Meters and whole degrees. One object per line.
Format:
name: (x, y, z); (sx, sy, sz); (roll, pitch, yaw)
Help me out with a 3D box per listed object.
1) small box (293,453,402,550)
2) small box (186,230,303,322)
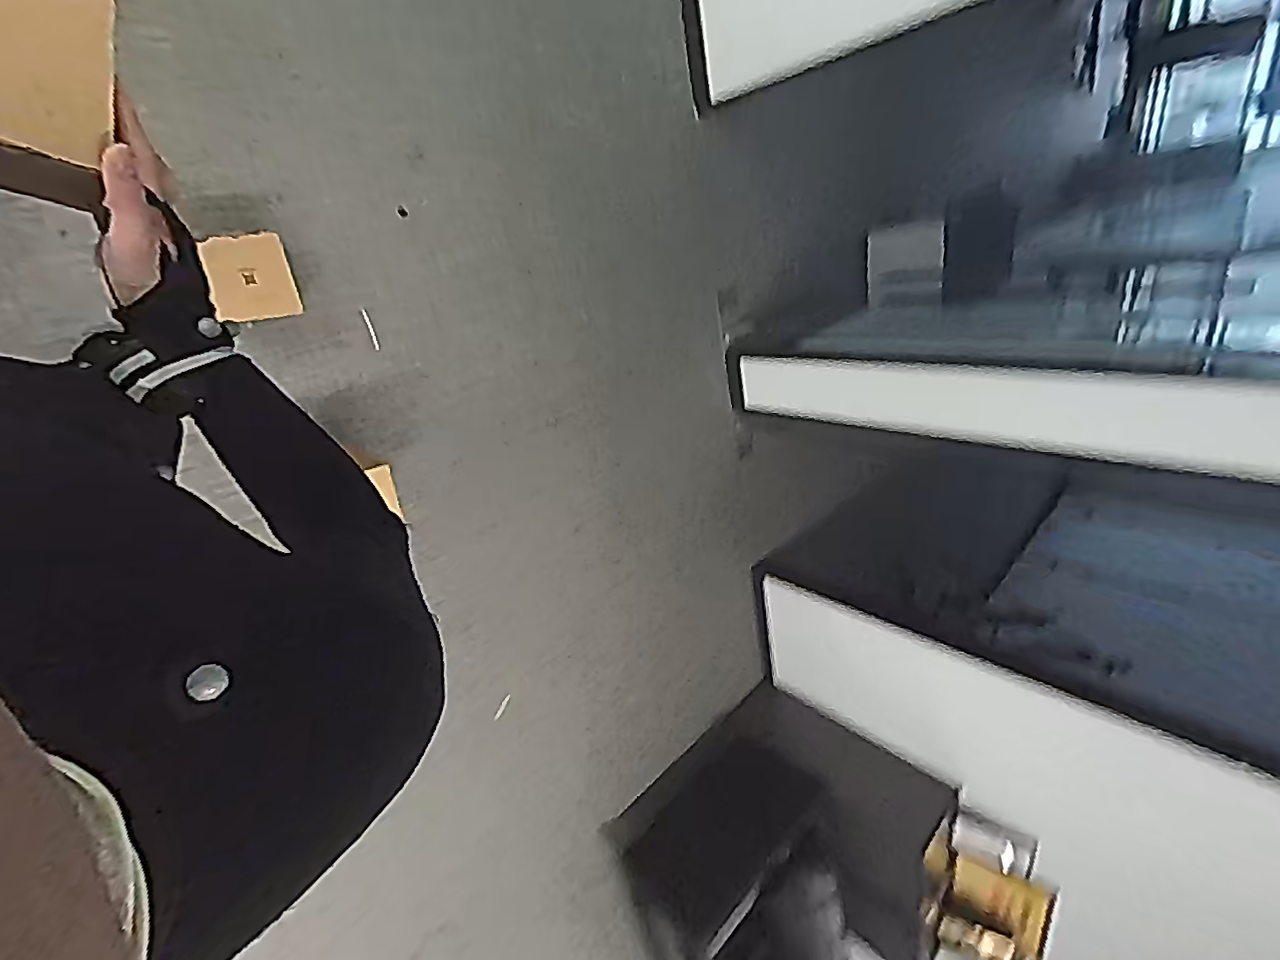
small box: (-0.711, 0.044, 1.316); (0.179, 0.176, 0.168); (-21, 116, -36)
small box: (-0.899, -0.459, 1.226); (0.168, 0.176, 0.179); (-23, 117, -35)
